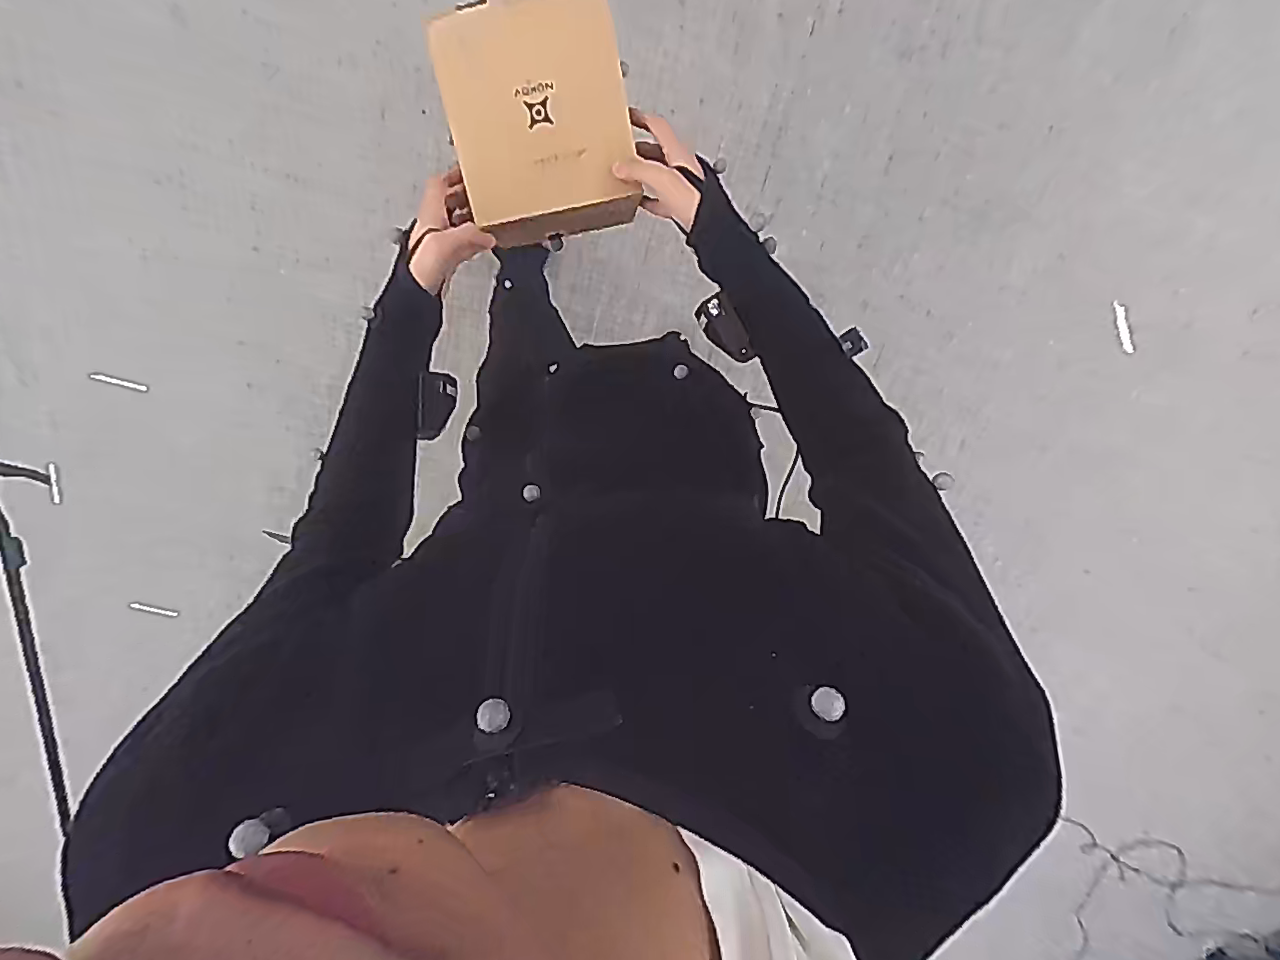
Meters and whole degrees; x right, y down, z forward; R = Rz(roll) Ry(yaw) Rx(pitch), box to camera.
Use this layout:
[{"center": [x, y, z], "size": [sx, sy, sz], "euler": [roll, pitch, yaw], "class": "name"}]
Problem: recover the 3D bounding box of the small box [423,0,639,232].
[{"center": [-0.100, -0.376, 0.559], "size": [0.168, 0.176, 0.179], "euler": [-11, 106, -1], "class": "small box"}]
